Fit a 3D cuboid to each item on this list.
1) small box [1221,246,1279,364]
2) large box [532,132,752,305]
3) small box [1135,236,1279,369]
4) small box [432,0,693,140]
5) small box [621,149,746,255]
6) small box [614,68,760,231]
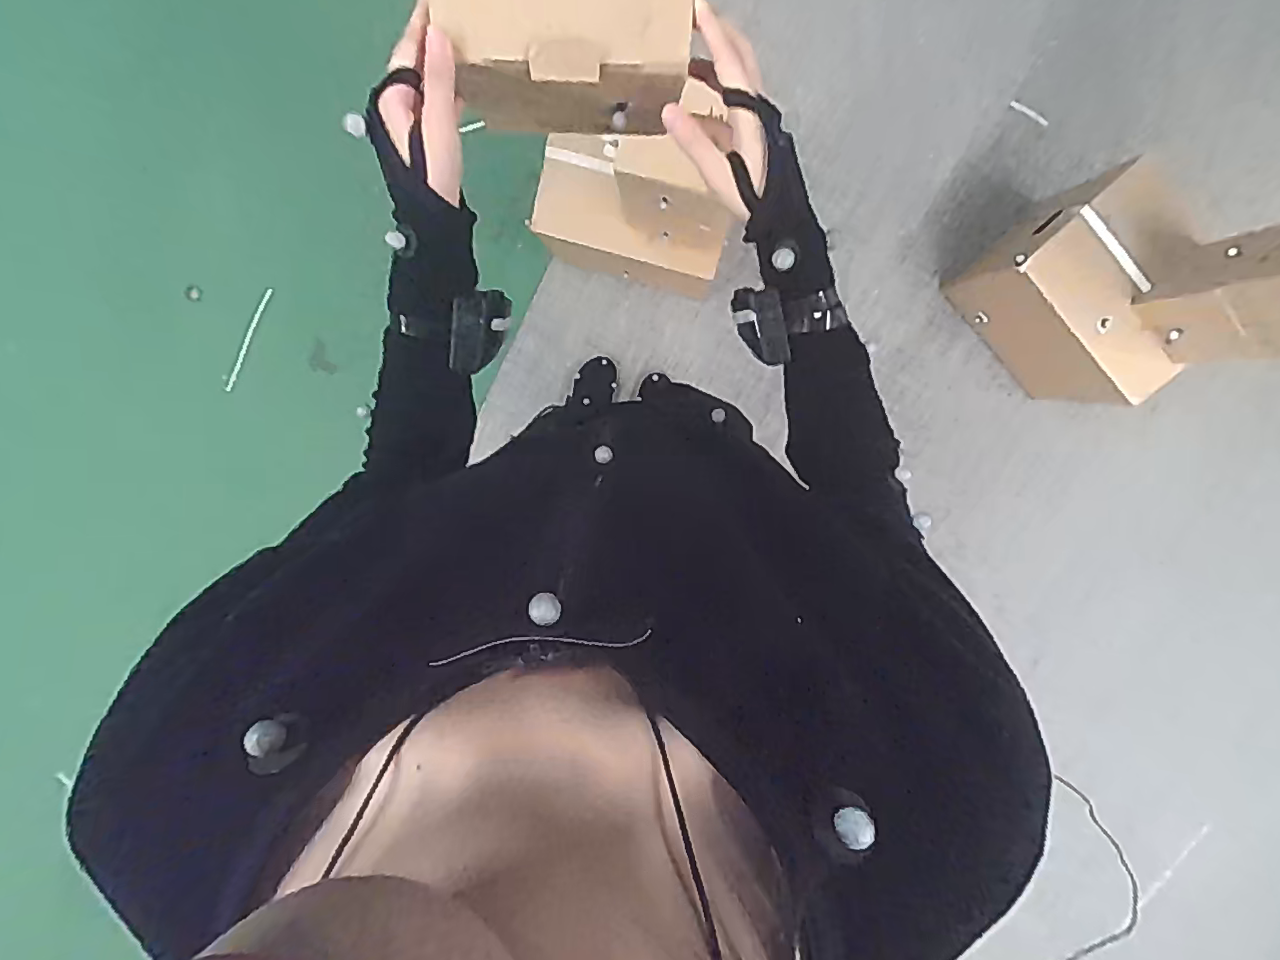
[{"bbox_3d":[1.117,-0.297,0.861,0.168,0.176,0.179,-40,96,6],"label":"small box"},{"bbox_3d":[0.010,-0.625,1.257,0.408,0.320,0.320,15,99,1],"label":"large box"},{"bbox_3d":[1.114,-0.328,1.020,0.179,0.176,0.168,-42,96,7],"label":"small box"},{"bbox_3d":[-0.048,-0.368,0.396,0.168,0.176,0.179,0,109,-3],"label":"small box"},{"bbox_3d":[0.077,-0.544,1.019,0.179,0.176,0.168,20,100,-2],"label":"small box"},{"bbox_3d":[0.070,-0.514,0.857,0.179,0.176,0.168,16,100,1],"label":"small box"}]
